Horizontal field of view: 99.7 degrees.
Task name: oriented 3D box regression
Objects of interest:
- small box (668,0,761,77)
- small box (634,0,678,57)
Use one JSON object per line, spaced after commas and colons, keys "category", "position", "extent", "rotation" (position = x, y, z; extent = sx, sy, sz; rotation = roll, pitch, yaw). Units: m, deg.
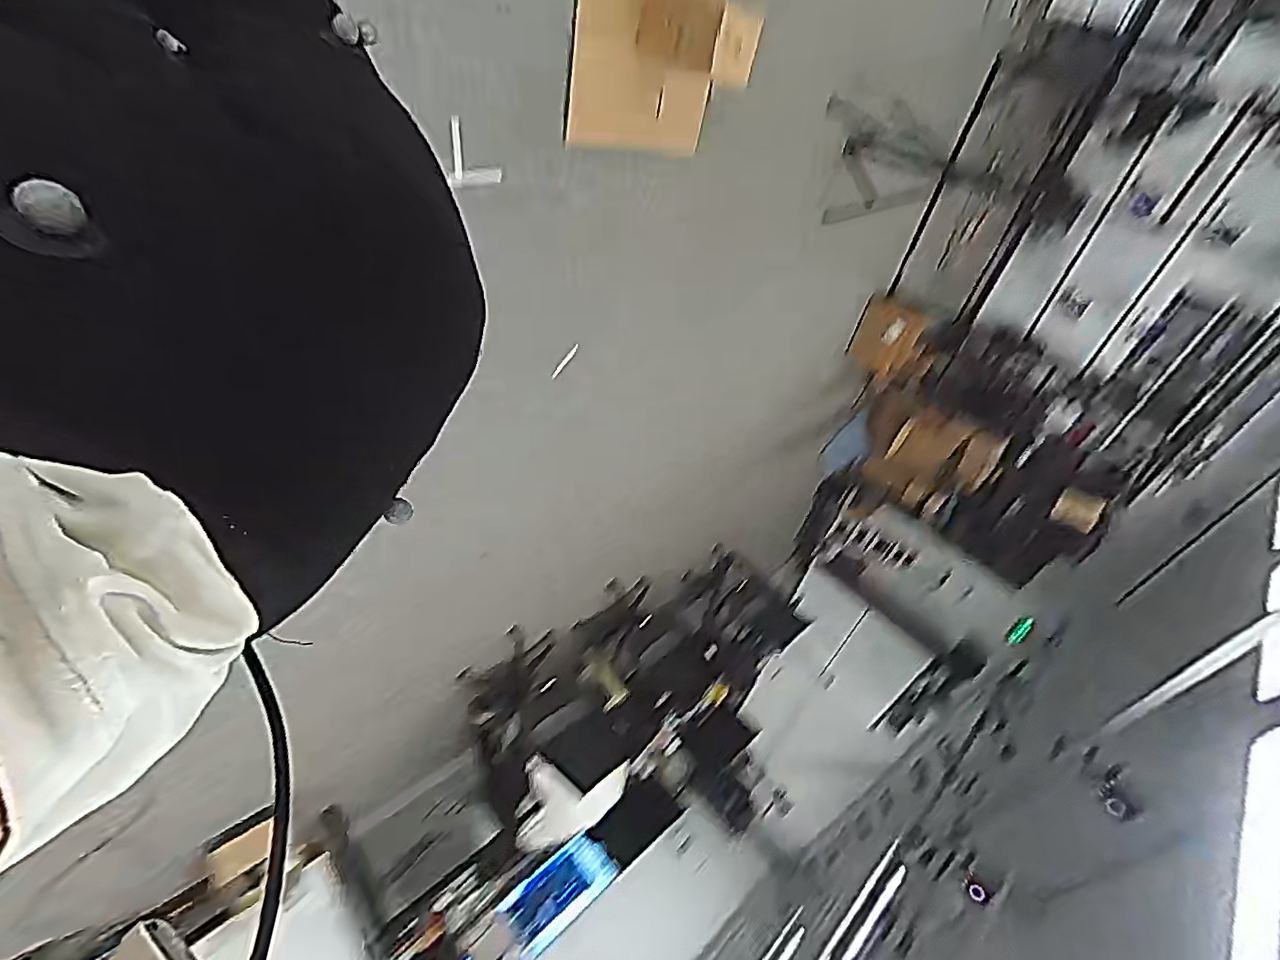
{"category": "small box", "position": [0.211, -1.289, 1.556], "extent": [0.179, 0.176, 0.168], "rotation": [-22, 140, -38]}
{"category": "small box", "position": [0.102, -1.389, 1.631], "extent": [0.168, 0.176, 0.179], "rotation": [-22, 140, -38]}
